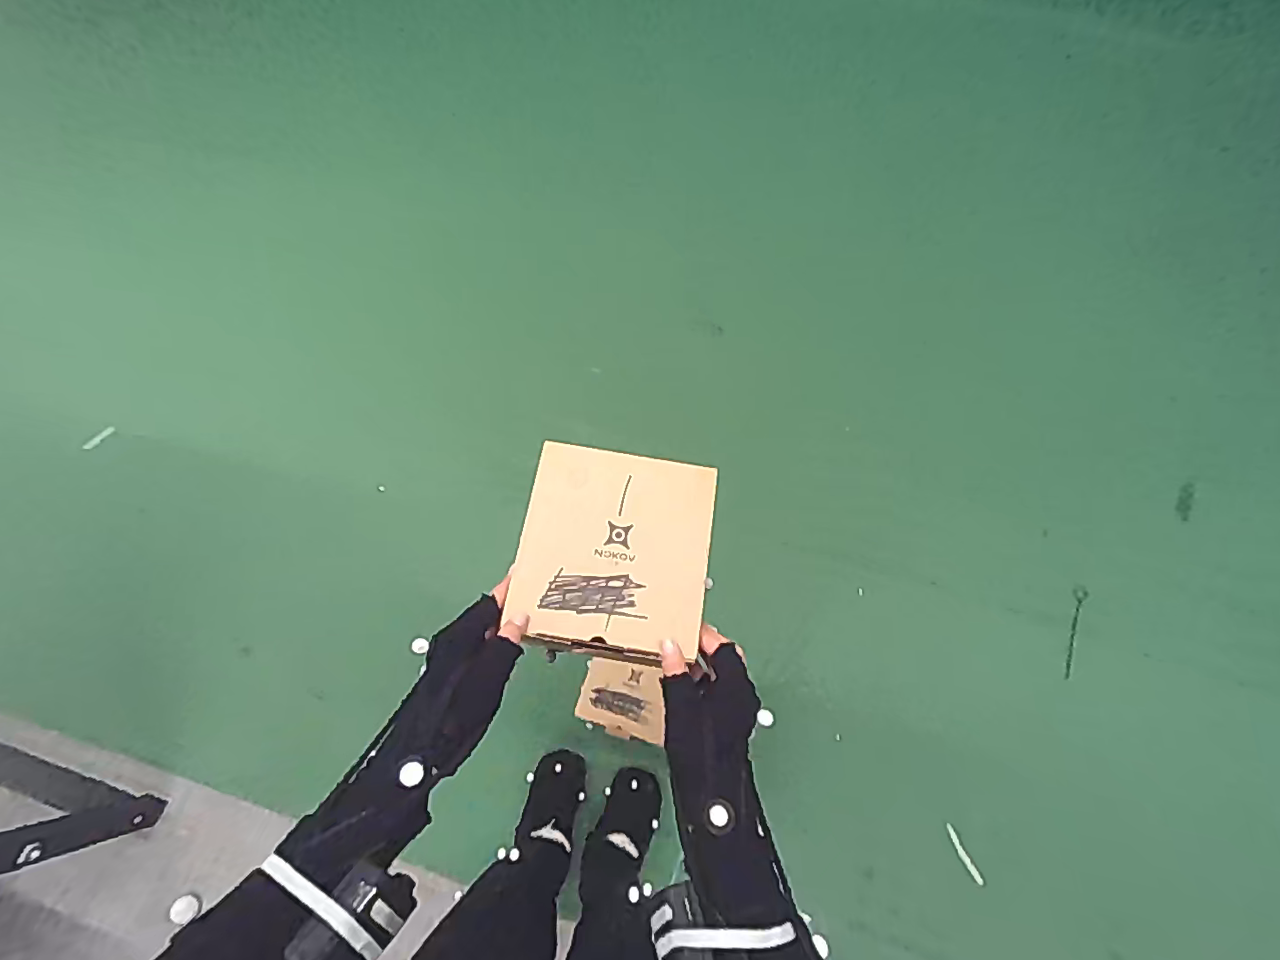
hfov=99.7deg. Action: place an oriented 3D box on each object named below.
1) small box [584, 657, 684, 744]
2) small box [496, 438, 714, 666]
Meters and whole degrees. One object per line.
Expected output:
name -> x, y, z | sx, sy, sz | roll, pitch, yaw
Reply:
small box -> -0.010, 0.452, 1.188 | 0.168, 0.176, 0.179 | 18, 72, 8
small box -> -0.029, 0.083, 0.541 | 0.168, 0.176, 0.179 | 9, 67, 0
